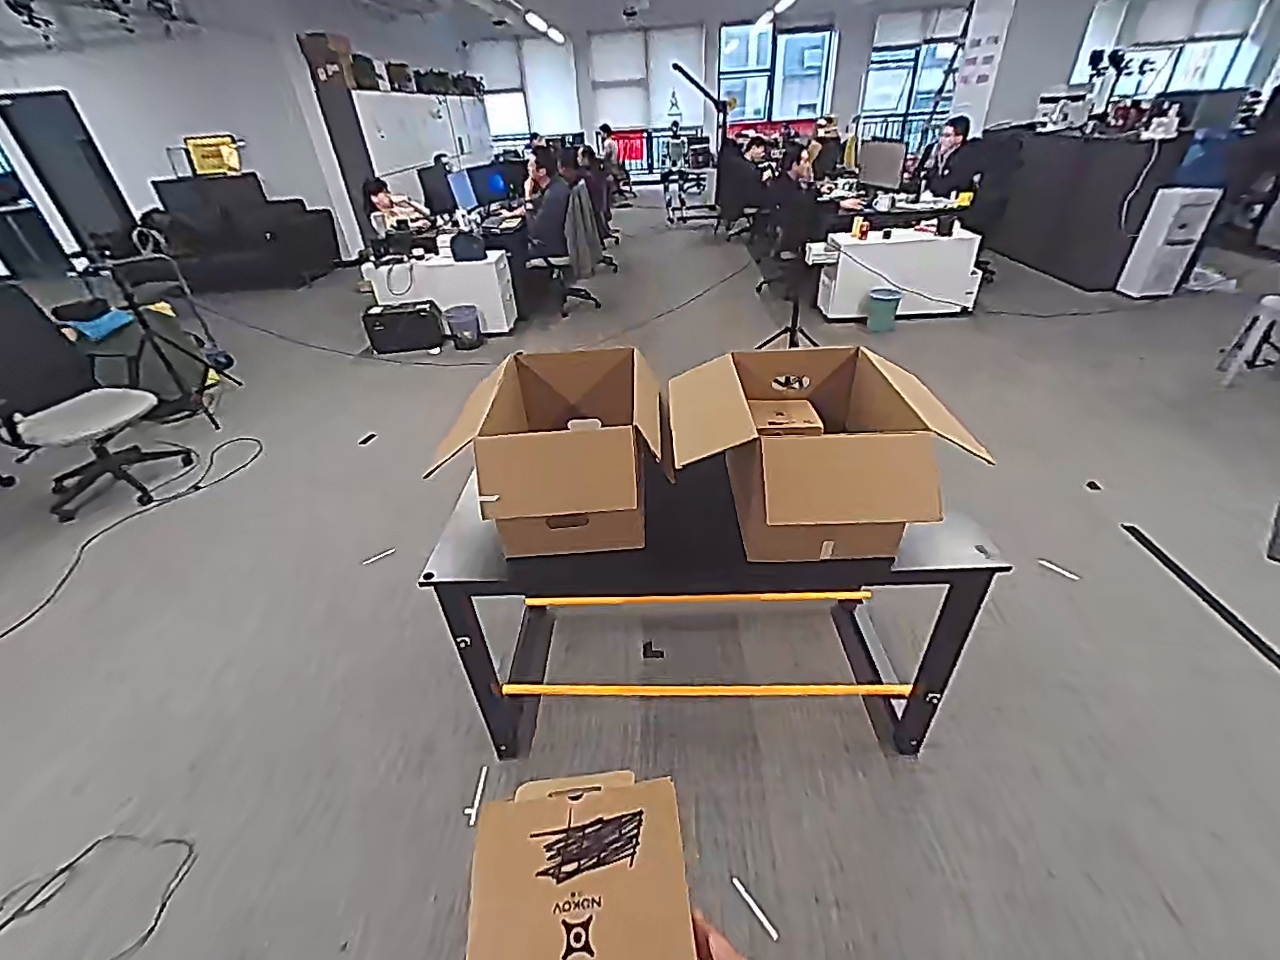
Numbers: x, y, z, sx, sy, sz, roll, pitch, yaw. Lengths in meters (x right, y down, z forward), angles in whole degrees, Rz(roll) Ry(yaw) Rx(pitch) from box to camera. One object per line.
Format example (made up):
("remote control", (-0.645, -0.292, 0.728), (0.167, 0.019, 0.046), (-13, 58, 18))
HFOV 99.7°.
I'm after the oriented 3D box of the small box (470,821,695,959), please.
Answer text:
("small box", (-0.038, 0.407, 0.442), (0.168, 0.176, 0.179), (-7, 47, -2))
